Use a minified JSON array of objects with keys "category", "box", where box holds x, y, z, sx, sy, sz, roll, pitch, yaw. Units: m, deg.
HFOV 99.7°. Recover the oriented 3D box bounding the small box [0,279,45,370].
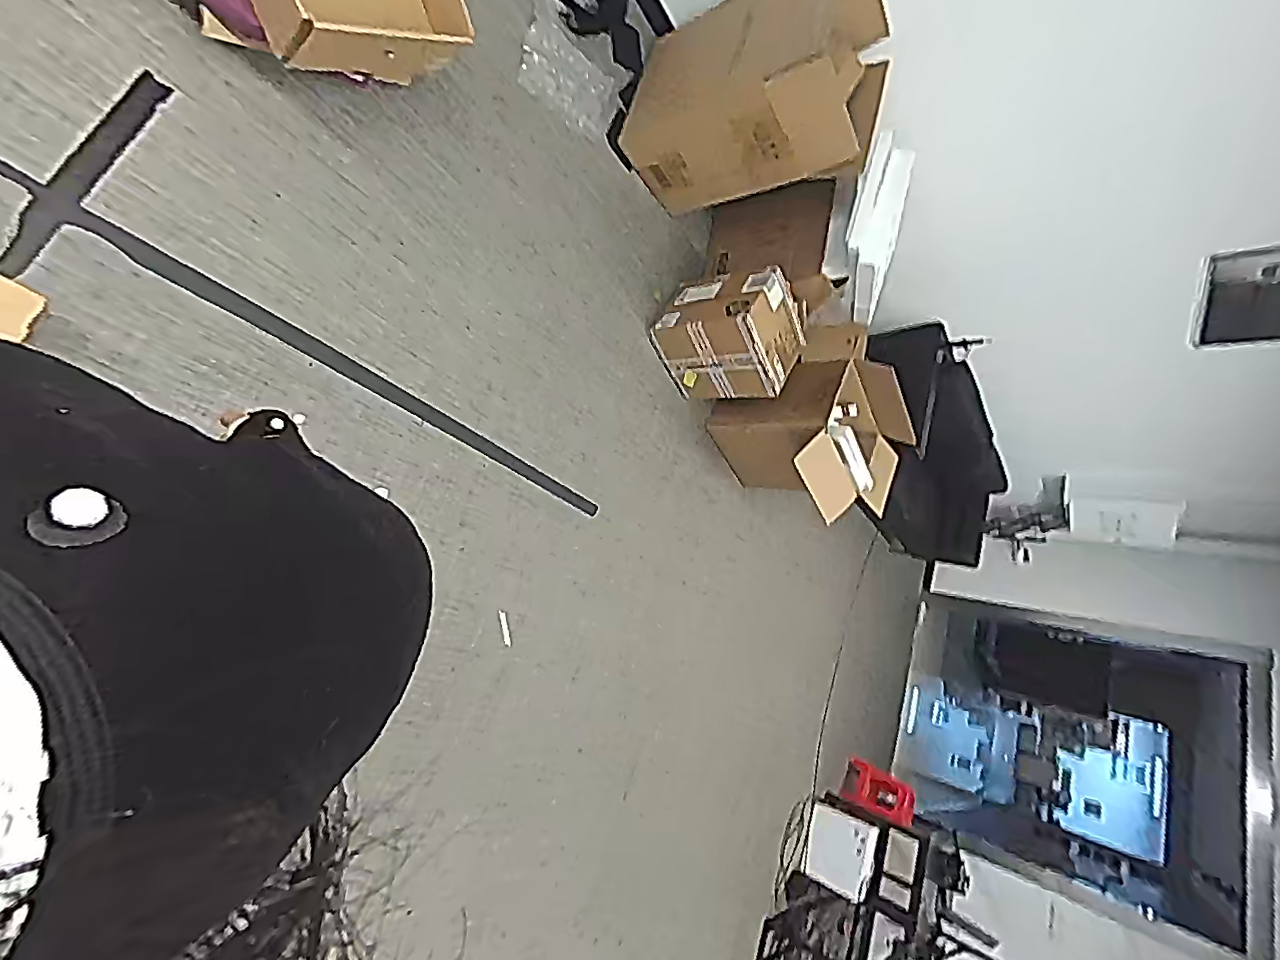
[{"category":"small box","box":[-1.145,-0.272,0.886,0.179,0.176,0.168,37,67,-45]}]
